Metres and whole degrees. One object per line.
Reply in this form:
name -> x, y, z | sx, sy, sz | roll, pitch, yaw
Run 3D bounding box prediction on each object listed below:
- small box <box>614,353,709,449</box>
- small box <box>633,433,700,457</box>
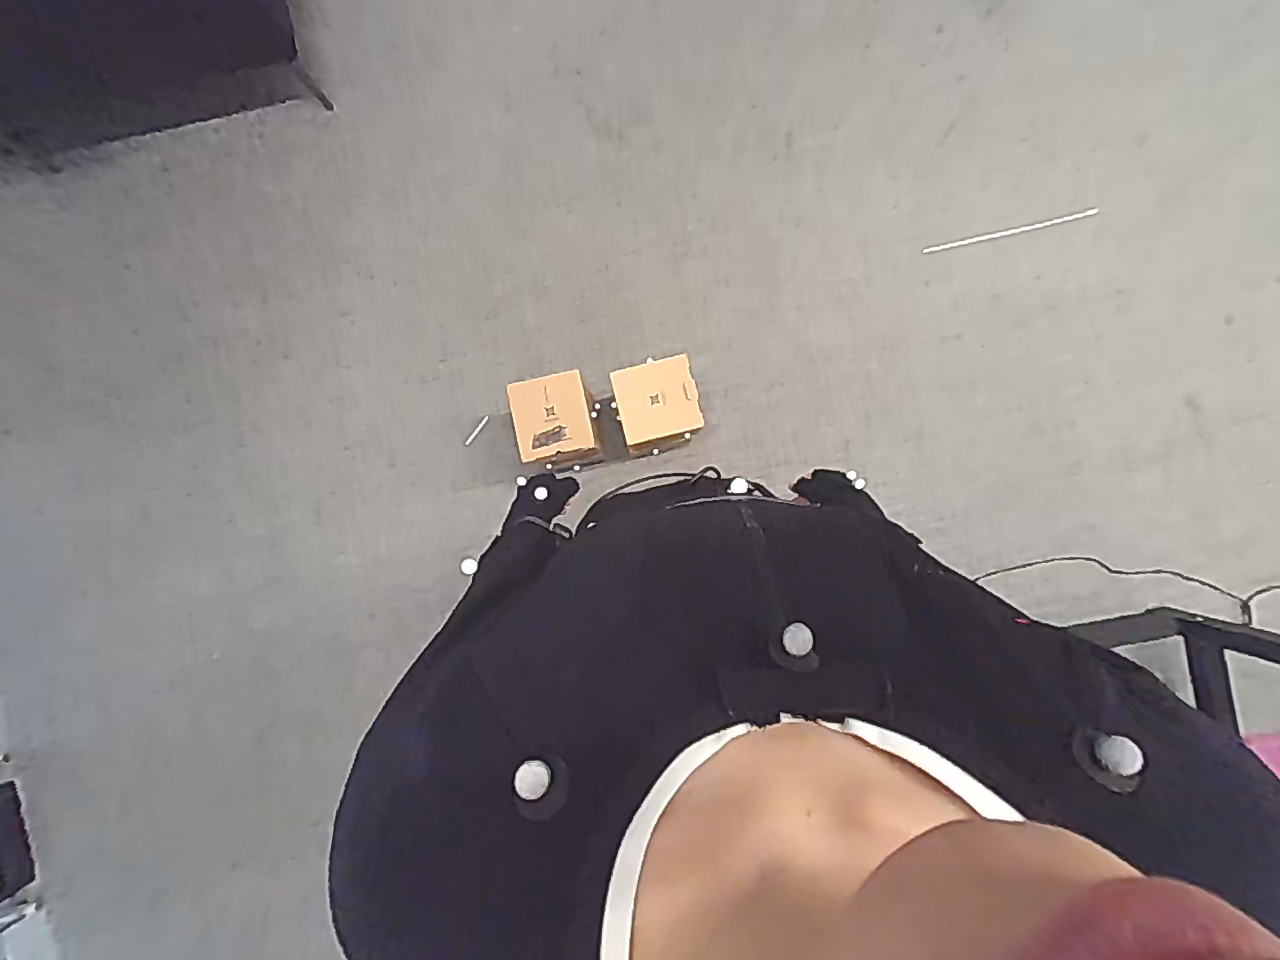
small box -> 0.050, -0.173, 1.239 | 0.179, 0.176, 0.168 | -15, 89, 1
small box -> 0.050, -0.166, 1.403 | 0.168, 0.176, 0.179 | -14, 89, 2
